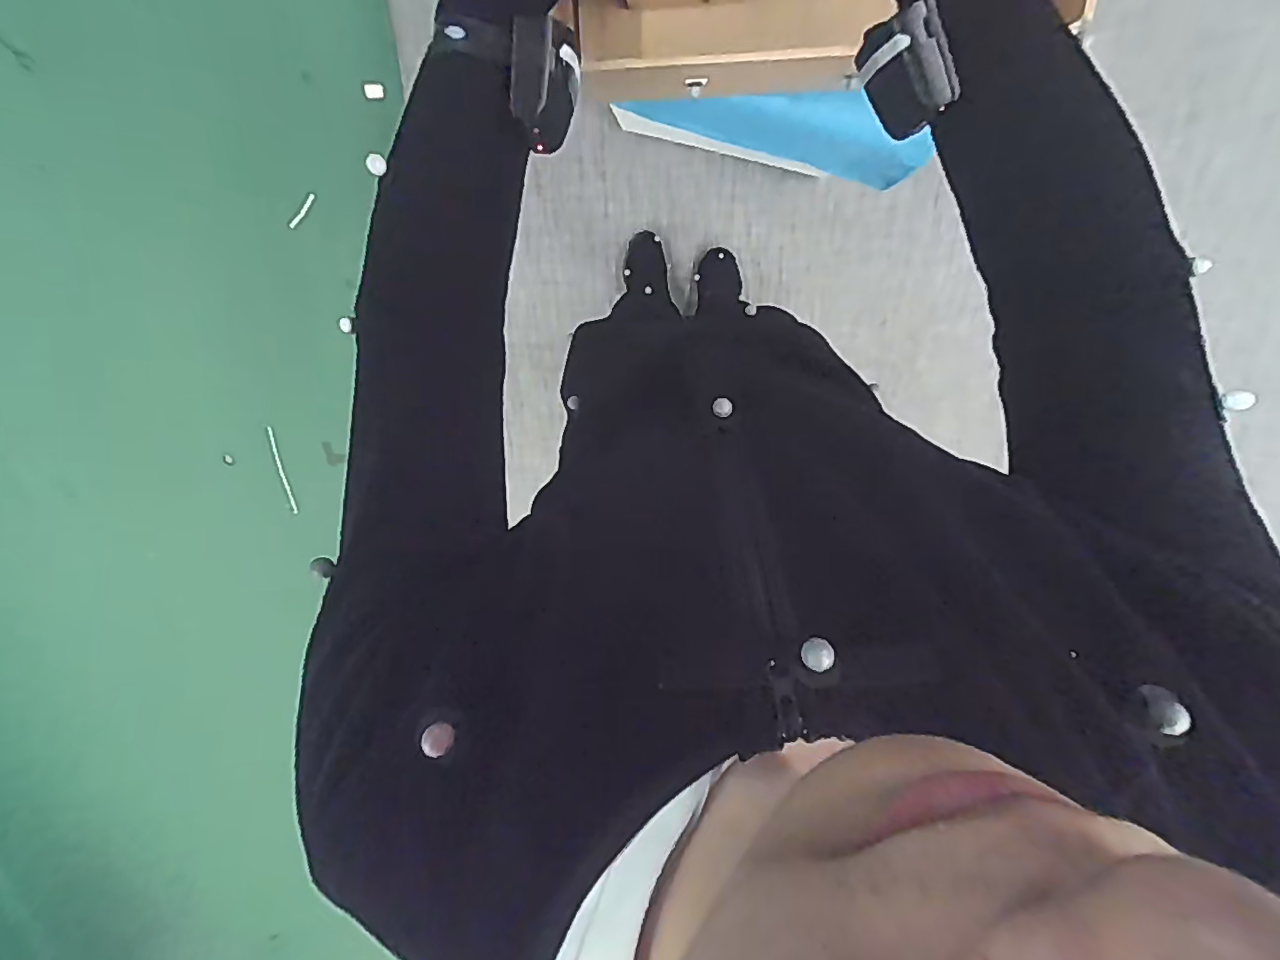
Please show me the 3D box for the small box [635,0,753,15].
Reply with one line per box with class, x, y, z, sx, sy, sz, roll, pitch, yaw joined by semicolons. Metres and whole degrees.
small box;0.064;-0.680;0.619;0.168;0.176;0.179;0;111;5
